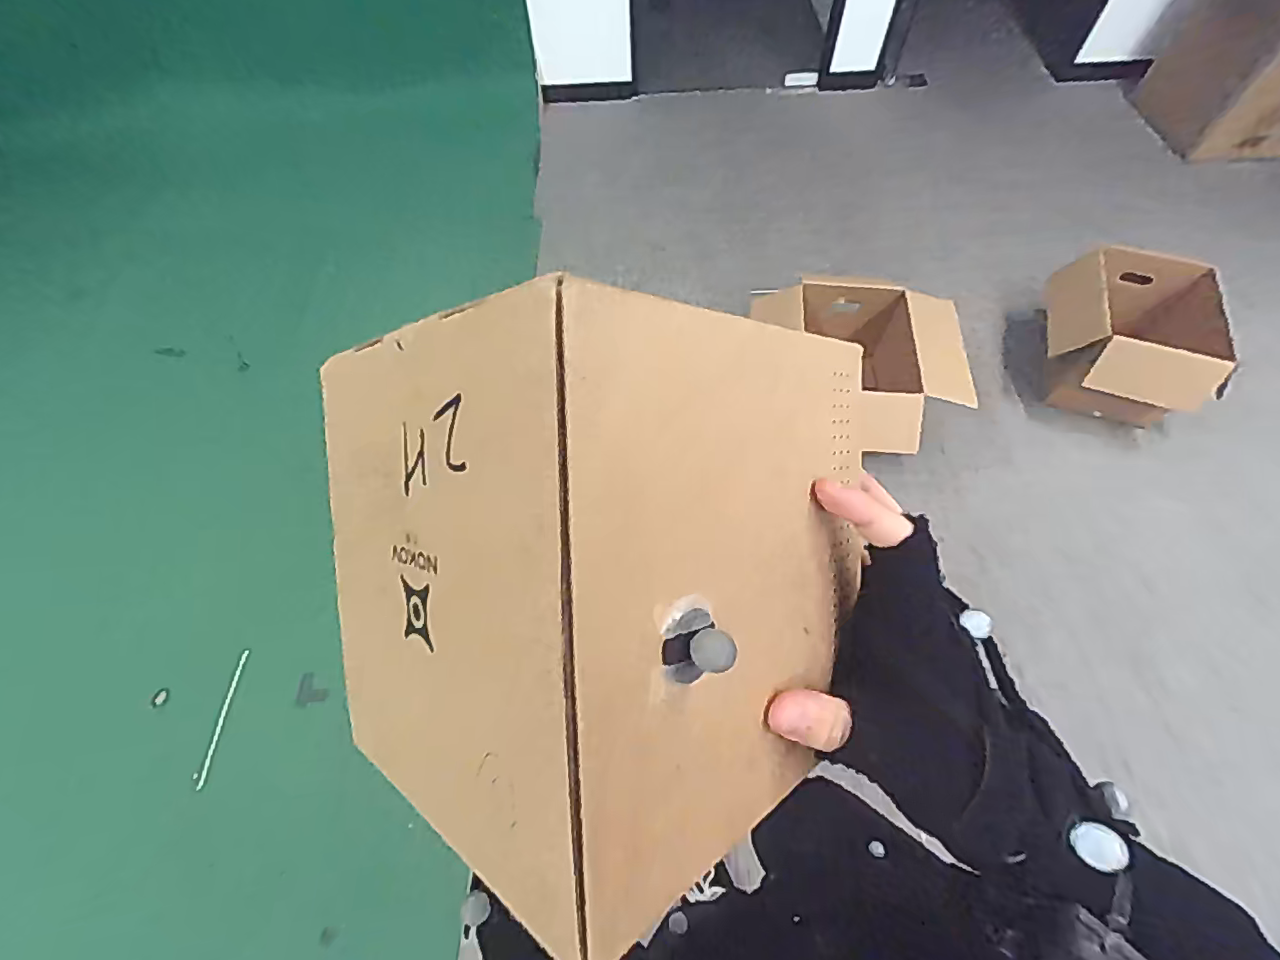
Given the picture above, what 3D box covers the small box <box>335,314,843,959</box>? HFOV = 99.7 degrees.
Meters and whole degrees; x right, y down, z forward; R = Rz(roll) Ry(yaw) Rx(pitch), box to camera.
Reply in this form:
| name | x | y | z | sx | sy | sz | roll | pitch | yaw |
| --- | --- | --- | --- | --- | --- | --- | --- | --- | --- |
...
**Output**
| name | x | y | z | sx | sy | sz | roll | pitch | yaw |
| --- | --- | --- | --- | --- | --- | --- | --- | --- | --- |
| small box | -0.019 | 0.035 | 0.249 | 0.168 | 0.176 | 0.179 | 2 | 95 | 44 |
